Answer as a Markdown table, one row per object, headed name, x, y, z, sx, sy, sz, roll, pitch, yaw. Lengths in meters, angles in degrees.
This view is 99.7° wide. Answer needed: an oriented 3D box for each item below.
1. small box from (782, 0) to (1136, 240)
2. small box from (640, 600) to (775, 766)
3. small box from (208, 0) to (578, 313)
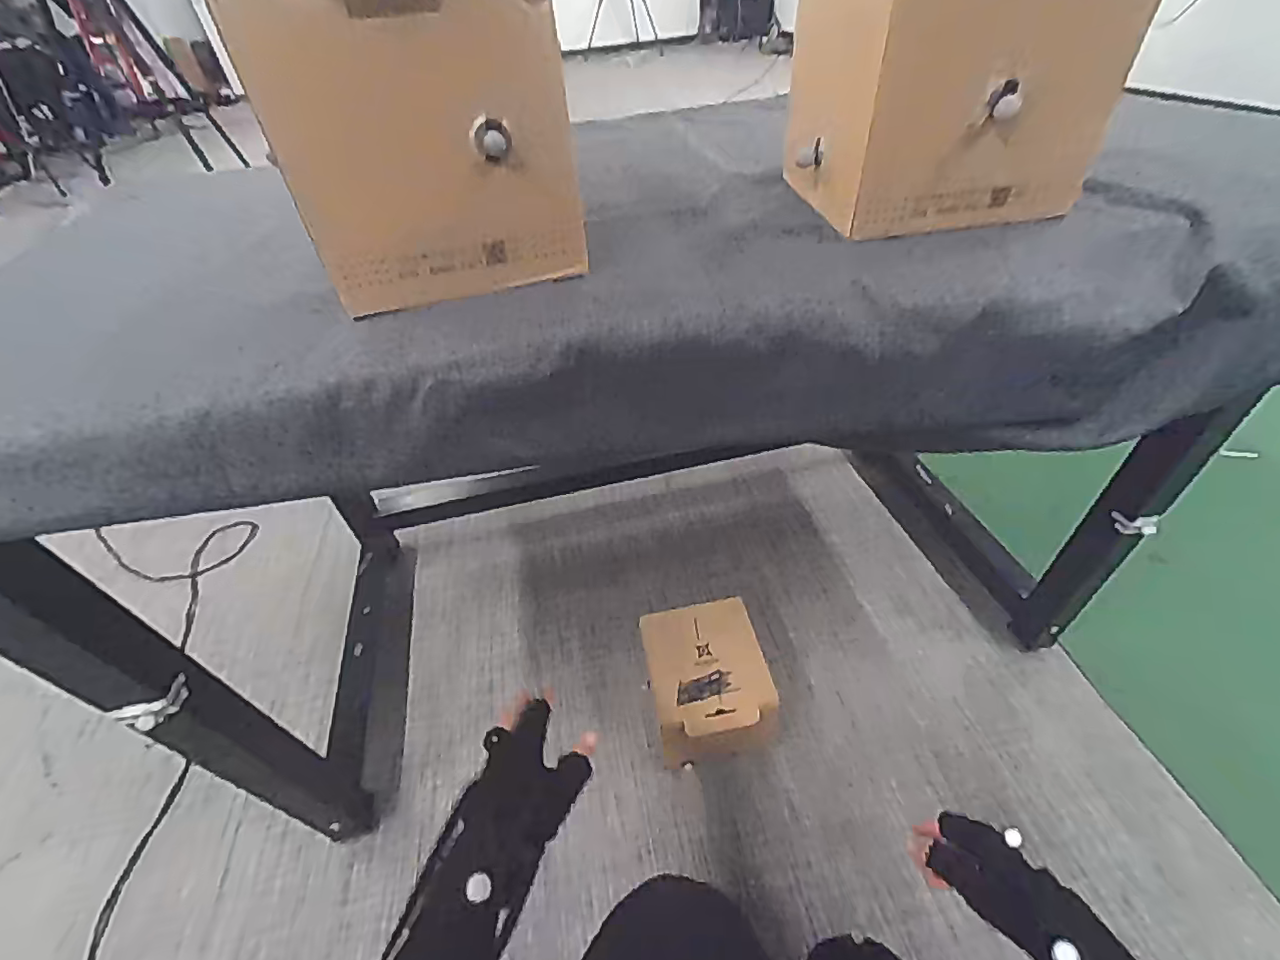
| name | x | y | z | sx | sy | sz | roll | pitch | yaw |
| --- | --- | --- | --- | --- | --- | --- | --- | --- | --- |
| small box | 0.214 | -0.292 | 0.405 | 0.168 | 0.176 | 0.179 | -7 | 43 | -1 |
| small box | 0.099 | 0.318 | 0.835 | 0.168 | 0.176 | 0.179 | -10 | 42 | -3 |
| small box | -0.147 | -0.231 | 0.383 | 0.168 | 0.176 | 0.179 | -14 | 41 | -10 |
